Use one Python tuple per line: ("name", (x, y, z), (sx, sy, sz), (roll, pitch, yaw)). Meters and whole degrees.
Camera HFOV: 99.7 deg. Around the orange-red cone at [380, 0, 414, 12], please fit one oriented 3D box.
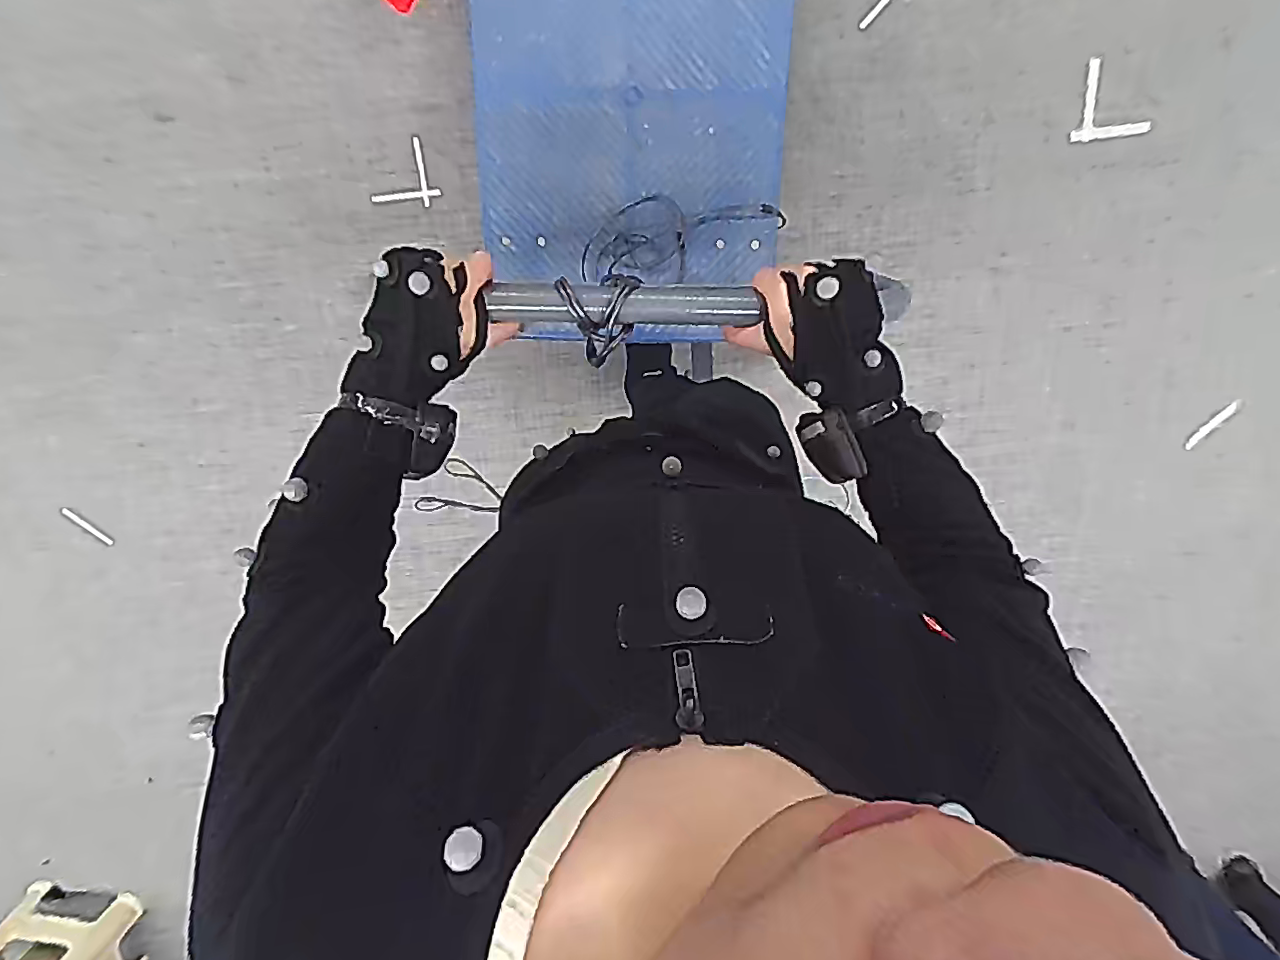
("orange-red cone", (-0.479, -1.008, 0.880), (0.198, 0.360, 0.199), (40, 100, -13))
